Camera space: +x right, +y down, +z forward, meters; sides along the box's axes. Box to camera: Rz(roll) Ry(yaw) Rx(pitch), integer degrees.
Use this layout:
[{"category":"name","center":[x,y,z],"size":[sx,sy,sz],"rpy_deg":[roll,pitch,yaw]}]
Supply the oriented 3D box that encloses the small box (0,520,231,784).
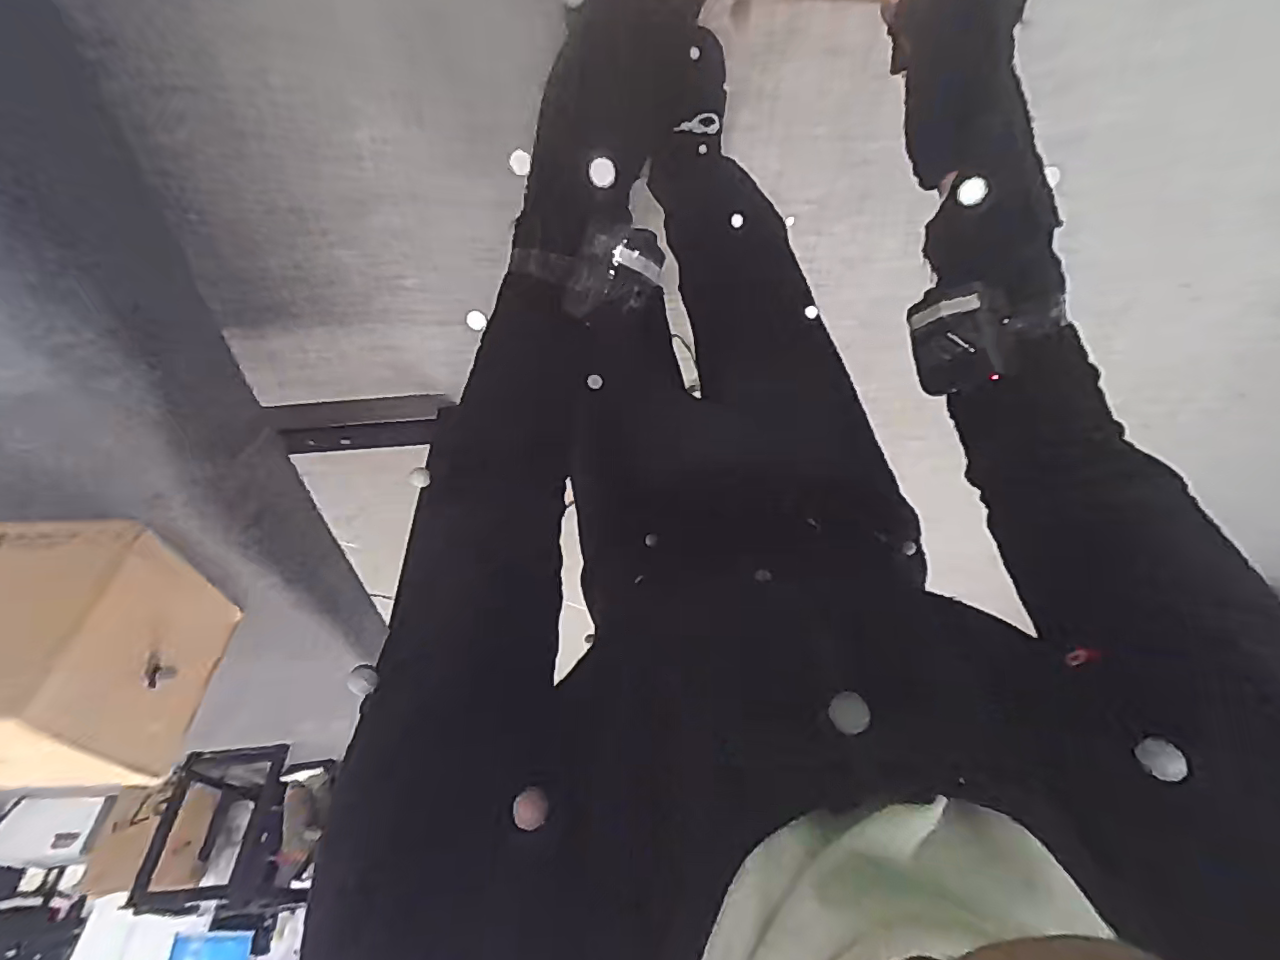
[{"category":"small box","center":[-0.508,0.151,0.467],"size":[0.168,0.176,0.179],"rpy_deg":[0,139,-4]}]
